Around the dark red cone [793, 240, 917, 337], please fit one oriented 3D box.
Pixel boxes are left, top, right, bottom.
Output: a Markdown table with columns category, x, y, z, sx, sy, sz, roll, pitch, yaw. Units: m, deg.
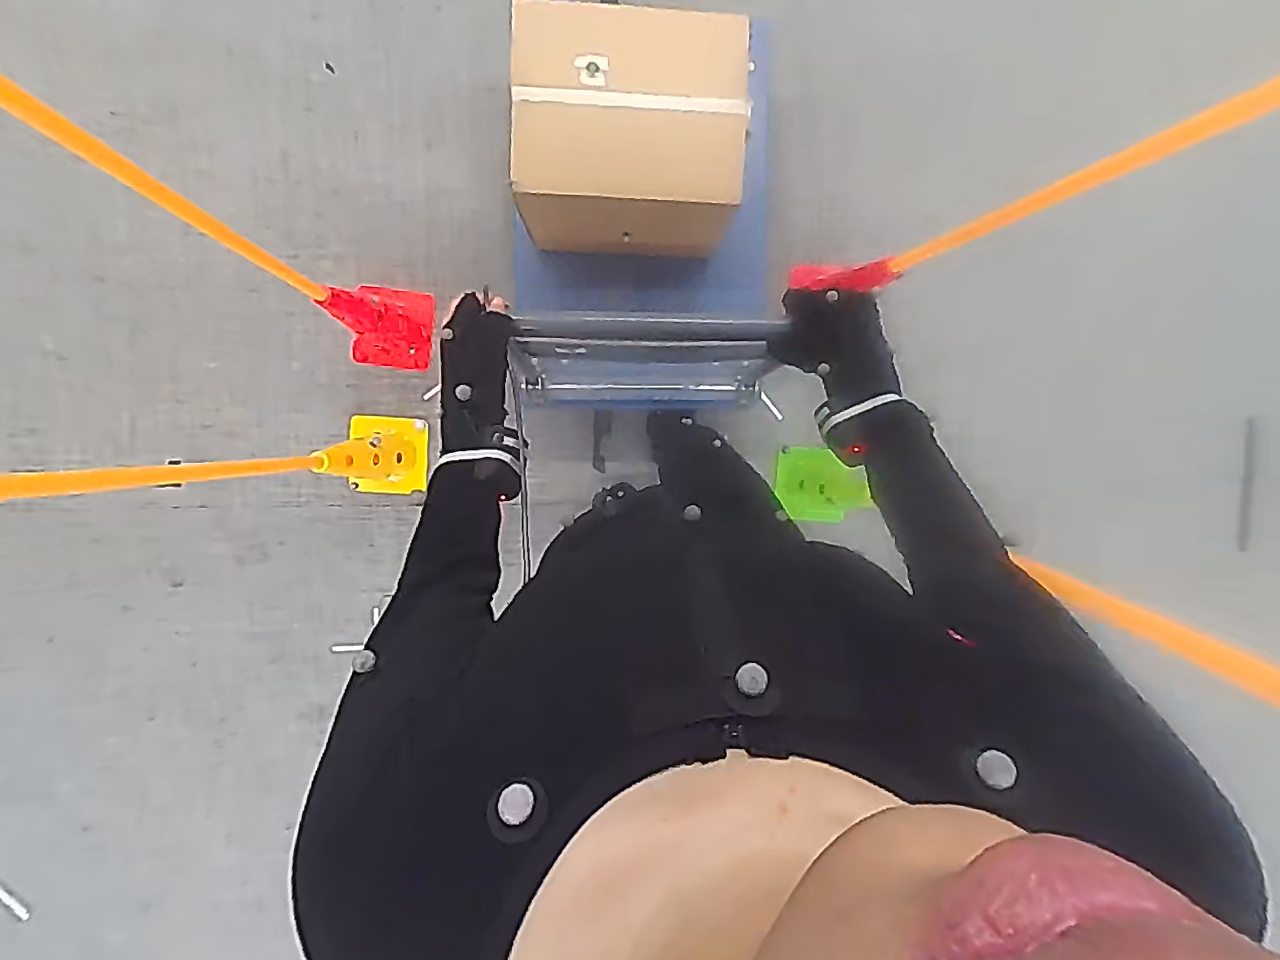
| category | x | y | z | sx | sy | sz | roll | pitch | yaw |
| --- | --- | --- | --- | --- | --- | --- | --- | --- | --- |
| dark red cone | 0.508 | -0.461 | 1.248 | 0.201 | 0.394 | 0.202 | 0 | 95 | -4 |

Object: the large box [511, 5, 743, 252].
| category | x | y | z | sx | sy | sz | roll | pitch | yaw |
| --- | --- | --- | --- | --- | --- | --- | --- | --- | --- |
| large box | -0.026 | -0.662 | 1.080 | 0.408 | 0.320 | 0.320 | 2 | 95 | -2 |

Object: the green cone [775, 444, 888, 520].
| category | x | y | z | sx | sy | sz | roll | pitch | yaw |
| --- | --- | --- | --- | --- | --- | --- | --- | --- | --- |
| green cone | 0.483 | 0.020 | 1.305 | 0.202 | 0.368 | 0.200 | 4 | 95 | -4 |

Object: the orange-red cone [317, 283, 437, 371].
| category | x | y | z | sx | sy | sz | roll | pitch | yaw |
| --- | --- | --- | --- | --- | --- | --- | --- | --- | --- |
| orange-red cone | -0.623 | -0.381 | 1.226 | 0.198 | 0.360 | 0.199 | 8 | 93 | -4 |
